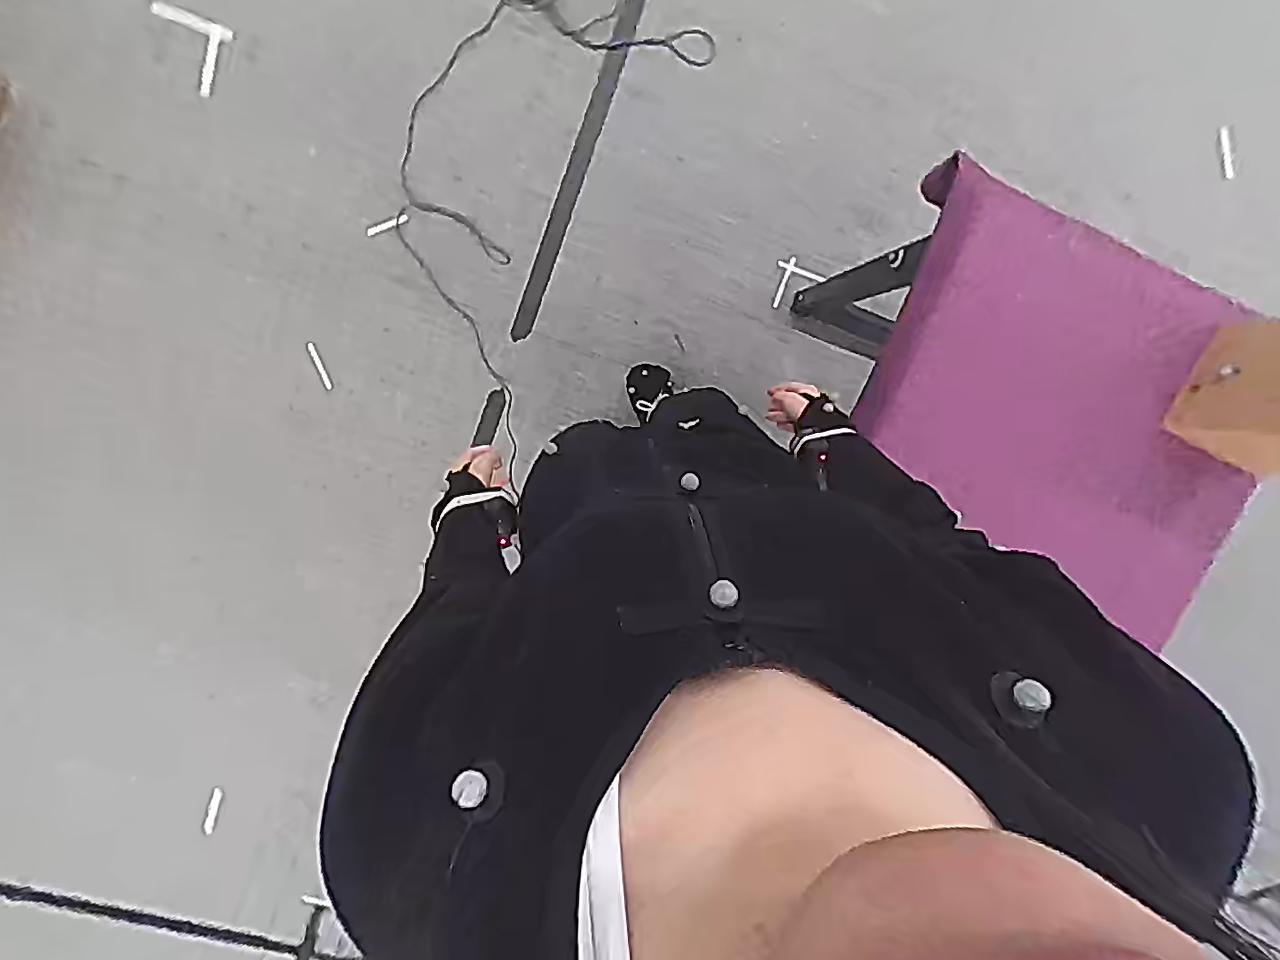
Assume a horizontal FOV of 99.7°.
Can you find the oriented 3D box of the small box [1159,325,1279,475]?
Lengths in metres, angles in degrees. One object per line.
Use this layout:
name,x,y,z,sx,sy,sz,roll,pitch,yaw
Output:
small box,0.888,-0.105,0.732,0.179,0.176,0.168,24,98,-7
